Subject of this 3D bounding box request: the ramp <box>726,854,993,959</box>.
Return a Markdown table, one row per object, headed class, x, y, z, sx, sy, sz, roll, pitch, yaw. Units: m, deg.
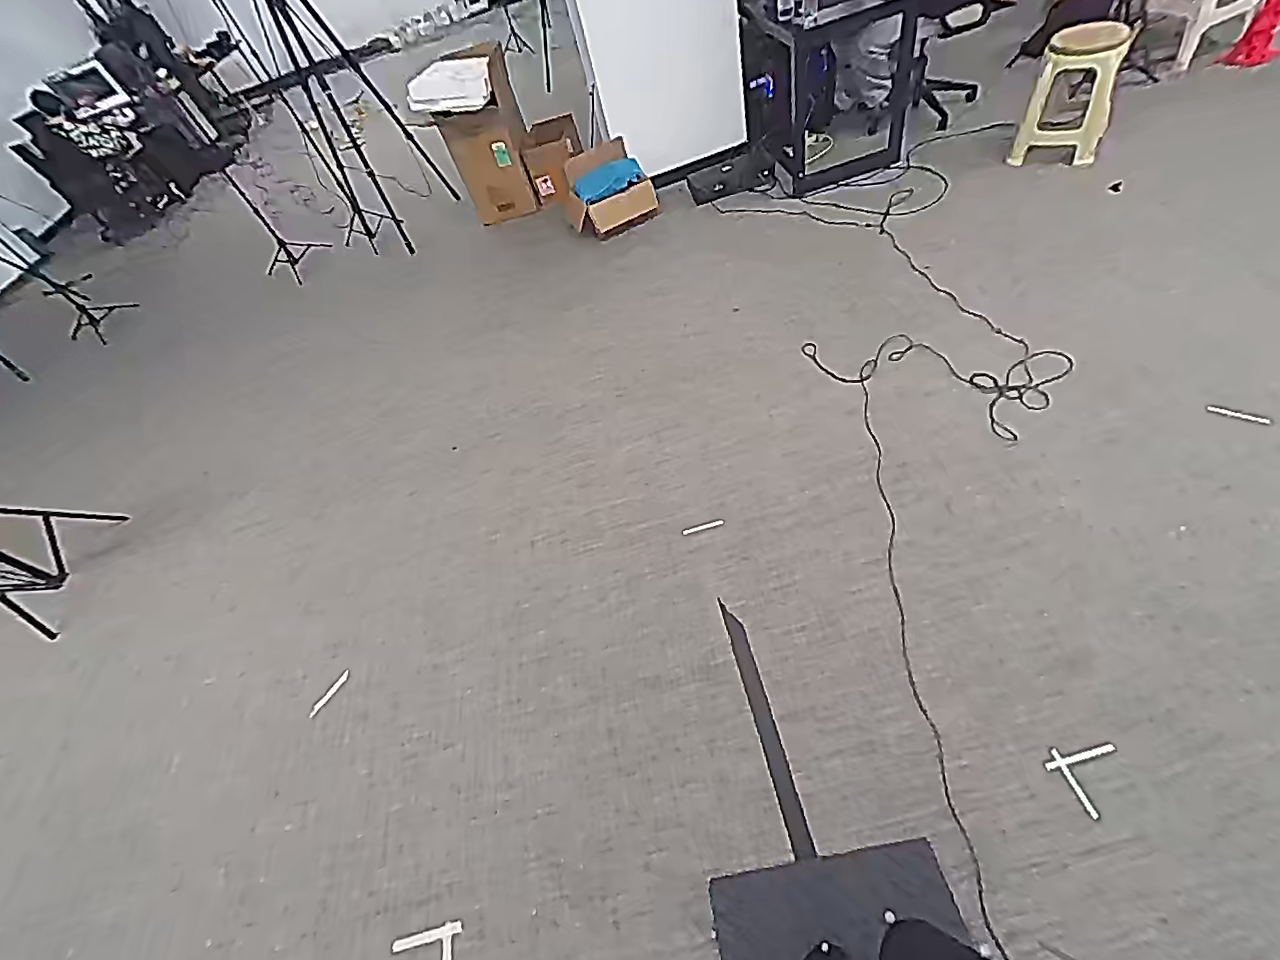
| class | x | y | z | sx | sy | sz | roll | pitch | yaw |
| --- | --- | --- | --- | --- | --- | --- | --- | --- | --- |
| ramp | 0.474 | 1.176 | 0.792 | 0.509 | 0.206 | 0.991 | -19 | 47 | 4 |
